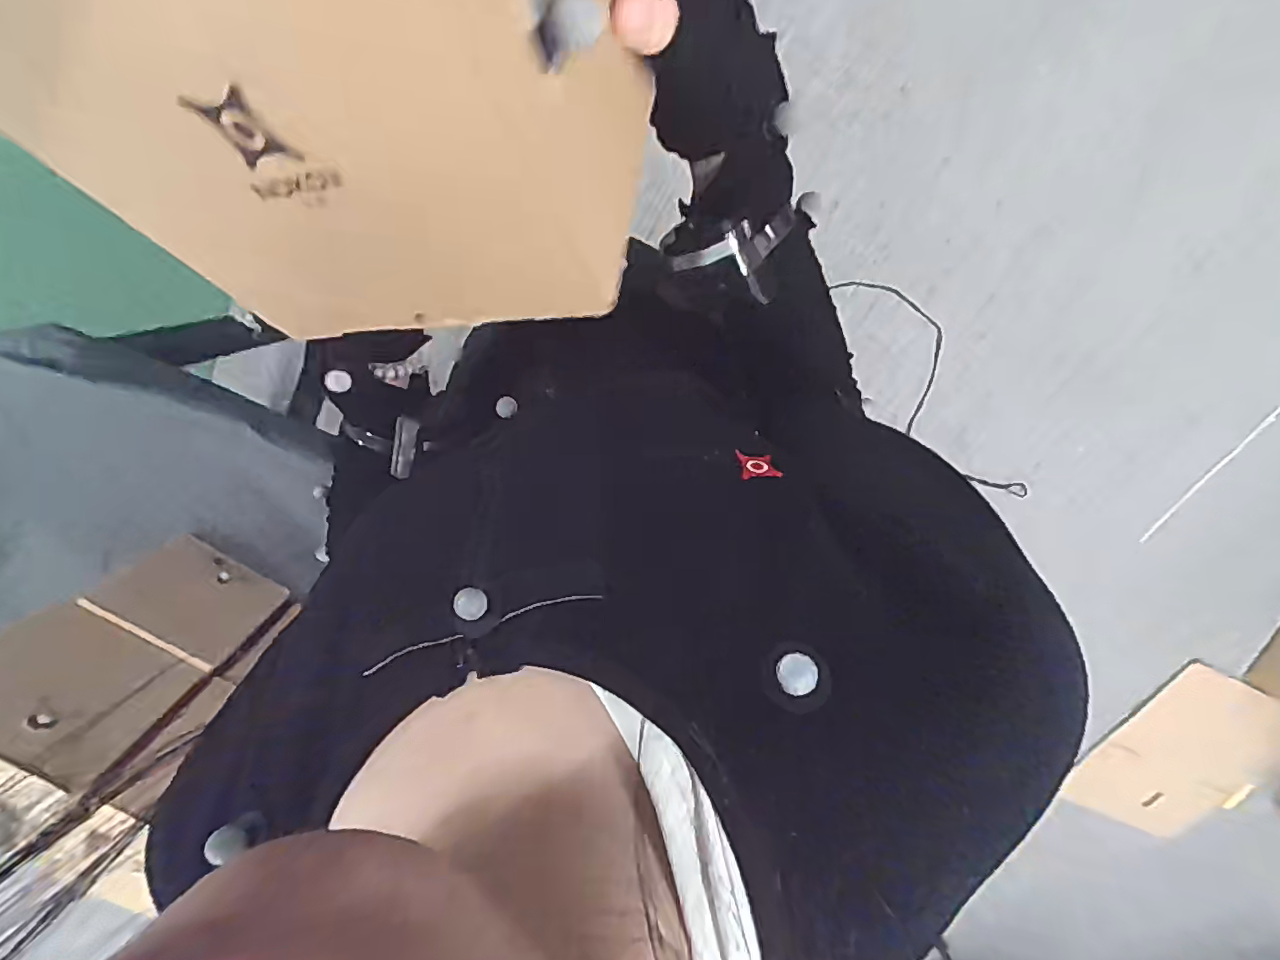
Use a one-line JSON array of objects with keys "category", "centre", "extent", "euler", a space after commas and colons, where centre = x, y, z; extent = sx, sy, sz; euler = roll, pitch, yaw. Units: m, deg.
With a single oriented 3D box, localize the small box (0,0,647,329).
[{"category": "small box", "centre": [-0.106, -0.180, 0.200], "extent": [0.168, 0.179, 0.176], "euler": [4, 71, 19]}]
